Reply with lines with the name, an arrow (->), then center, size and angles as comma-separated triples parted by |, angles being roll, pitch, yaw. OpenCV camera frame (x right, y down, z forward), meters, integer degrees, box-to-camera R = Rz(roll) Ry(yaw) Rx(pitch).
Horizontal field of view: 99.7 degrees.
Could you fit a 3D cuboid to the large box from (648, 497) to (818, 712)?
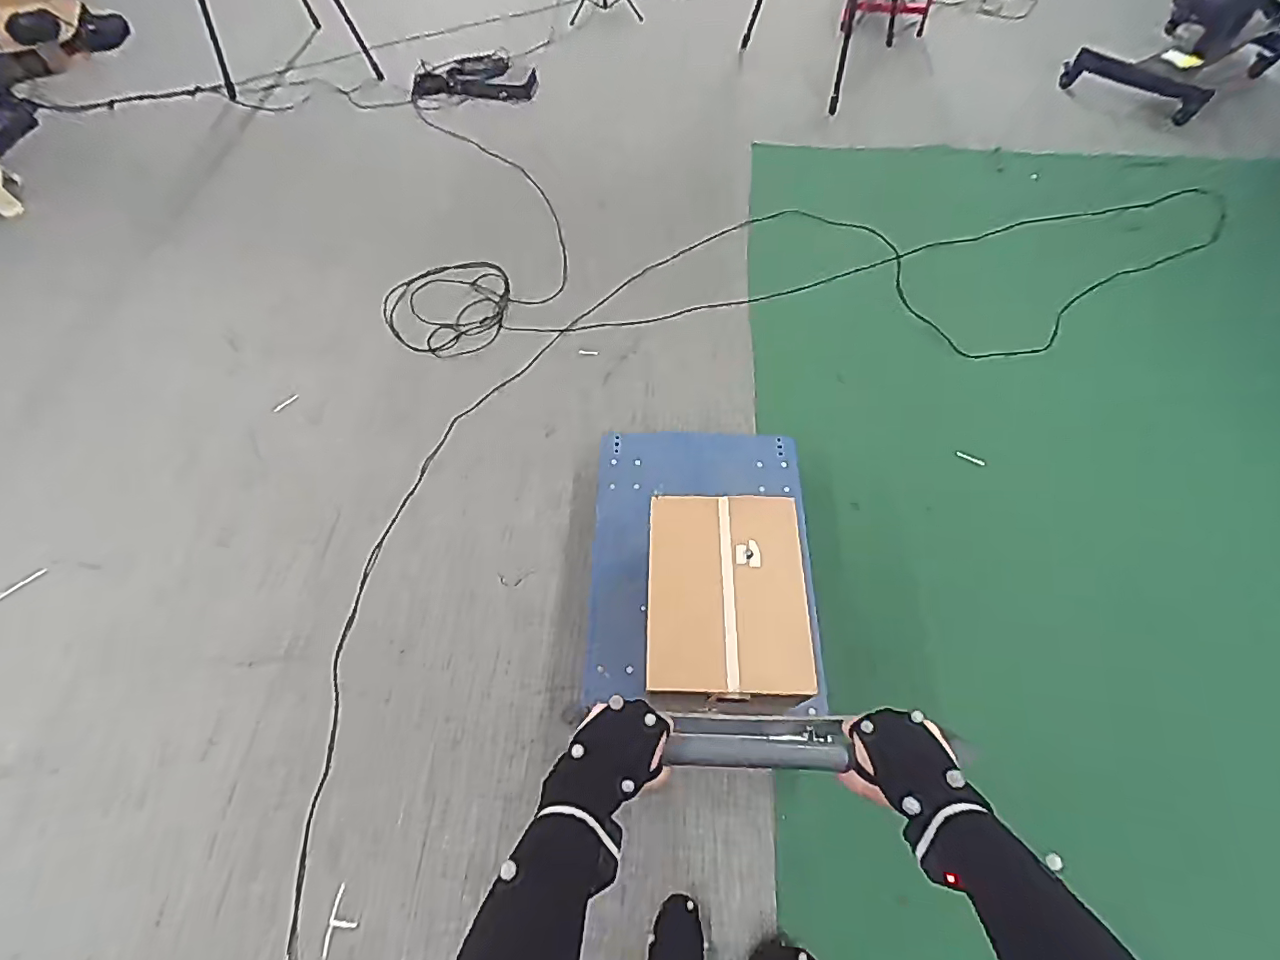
large box -> 0.179, 0.287, 1.211 | 0.320, 0.320, 0.408 | 1, 59, 1
